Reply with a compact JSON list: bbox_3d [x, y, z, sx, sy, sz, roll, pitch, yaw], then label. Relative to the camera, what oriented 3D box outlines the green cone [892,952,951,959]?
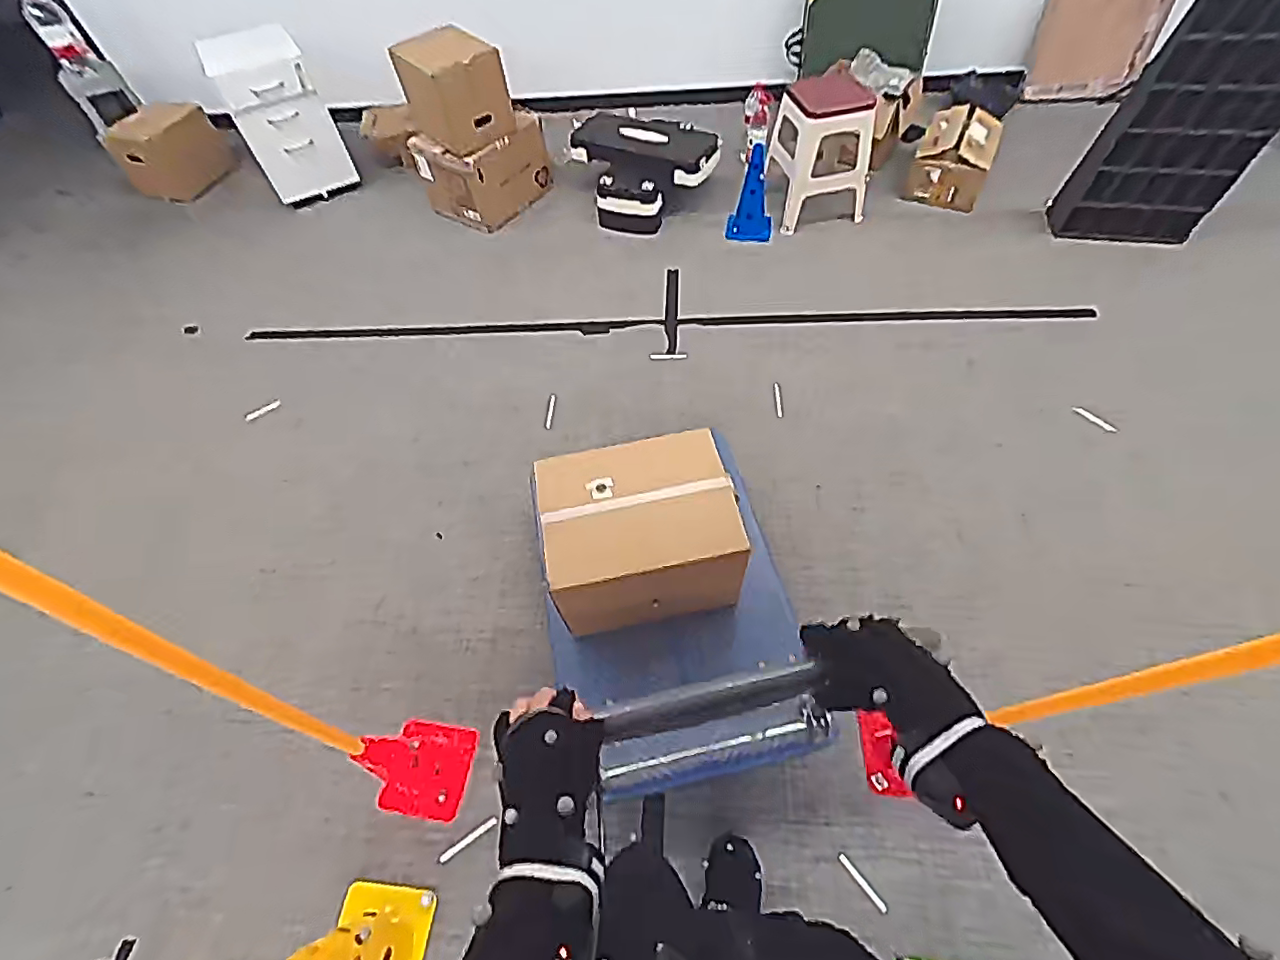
[{"bbox_3d":[0.572,0.926,0.864,0.202,0.368,0.200,4,57,5],"label":"green cone"}]

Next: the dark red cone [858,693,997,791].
[{"bbox_3d":[0.614,0.512,1.114,0.201,0.394,0.202,1,57,3],"label":"dark red cone"}]

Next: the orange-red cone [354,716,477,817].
[{"bbox_3d":[-0.517,0.589,1.163,0.198,0.360,0.199,7,56,7],"label":"orange-red cone"}]

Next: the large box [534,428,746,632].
[{"bbox_3d":[-0.002,0.125,1.260,0.408,0.320,0.320,-12,57,-3],"label":"large box"}]
